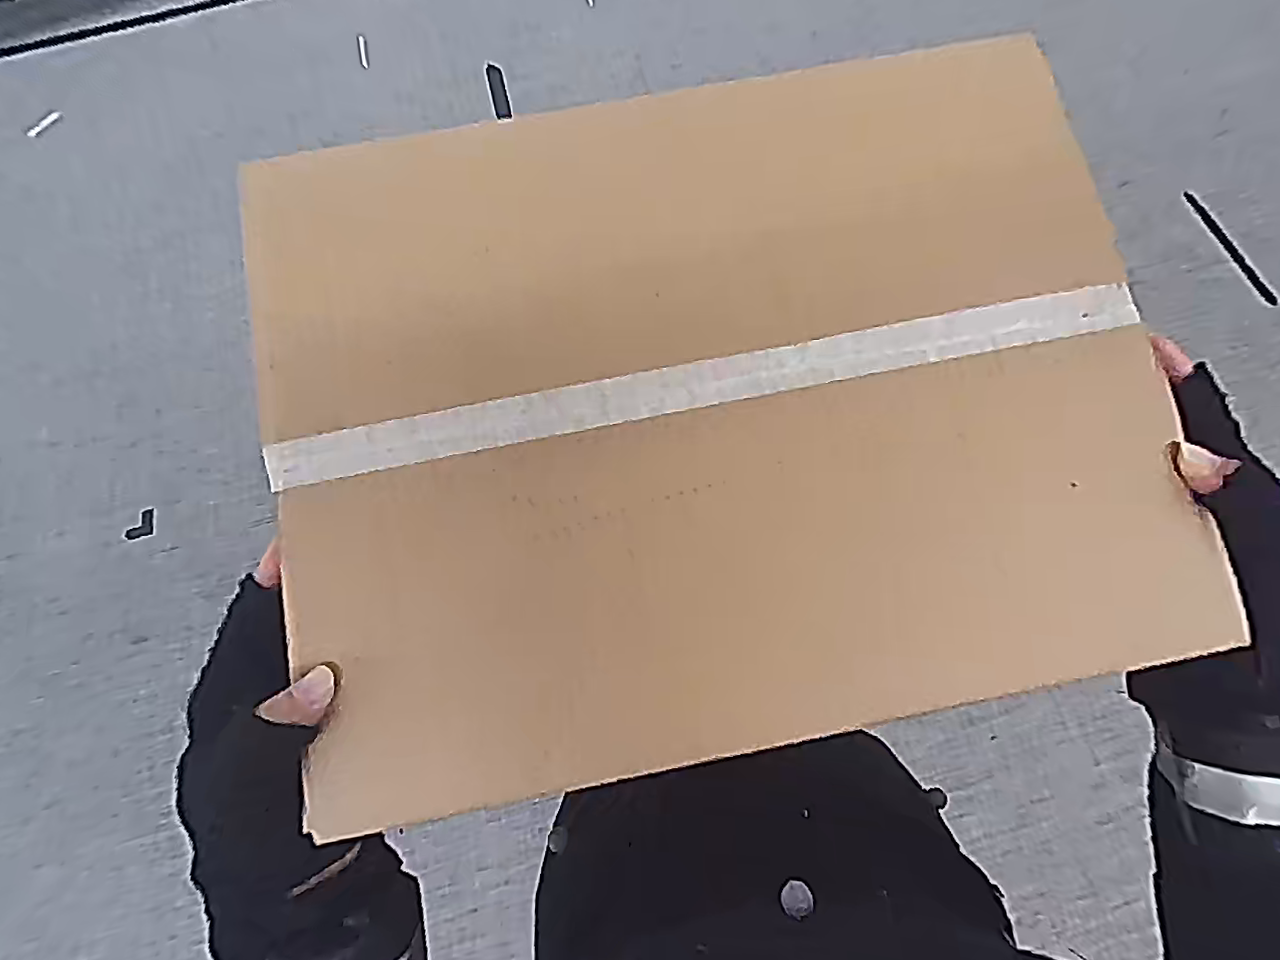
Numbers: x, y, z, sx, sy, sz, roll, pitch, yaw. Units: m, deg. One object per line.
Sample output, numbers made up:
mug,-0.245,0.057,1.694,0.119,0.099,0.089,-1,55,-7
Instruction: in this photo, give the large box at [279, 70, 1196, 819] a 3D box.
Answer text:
large box,0.033,-0.014,0.413,0.408,0.320,0.320,-12,82,-2
